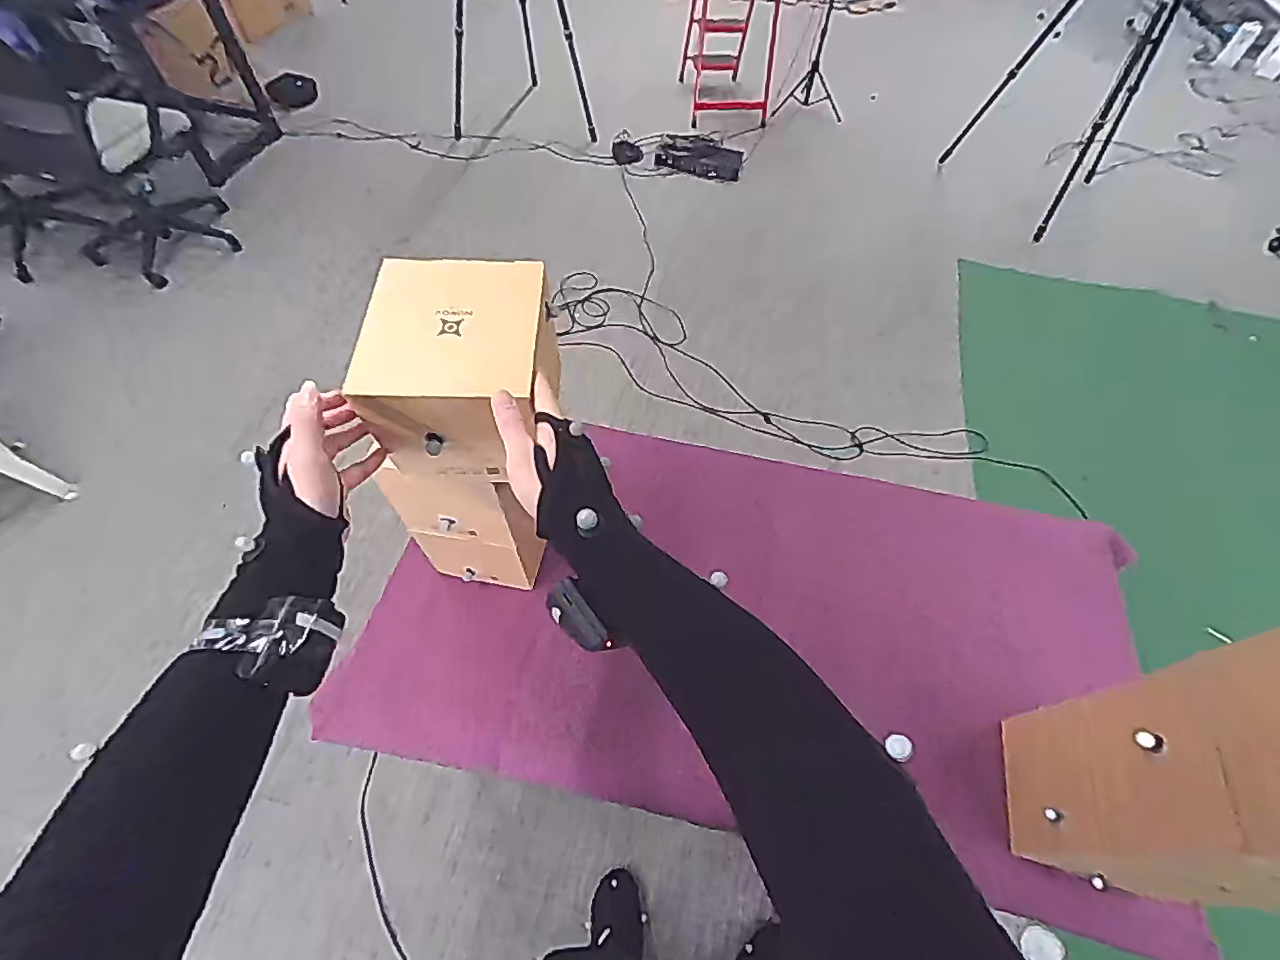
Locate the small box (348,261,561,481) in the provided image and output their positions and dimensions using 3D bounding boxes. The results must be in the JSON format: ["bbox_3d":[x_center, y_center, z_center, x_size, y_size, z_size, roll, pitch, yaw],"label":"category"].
[{"bbox_3d":[-0.178,-0.109,0.584,0.168,0.176,0.179,0,62,-2],"label":"small box"}]

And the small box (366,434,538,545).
[{"bbox_3d":[-0.239,-0.034,0.756,0.168,0.176,0.179,9,58,5],"label":"small box"}]

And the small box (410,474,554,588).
[{"bbox_3d":[-0.245,0.056,0.893,0.168,0.176,0.179,10,58,4],"label":"small box"}]
